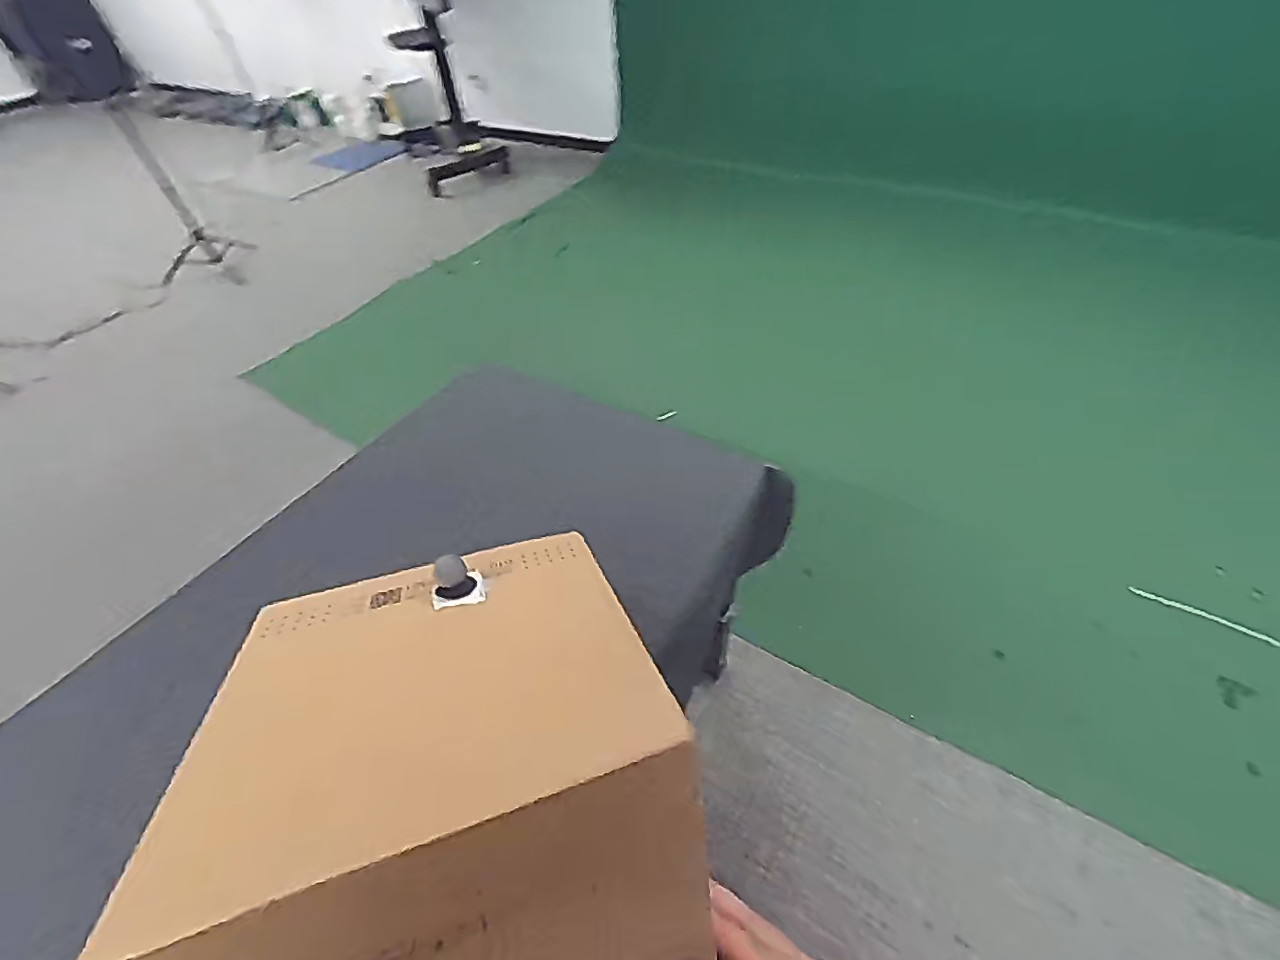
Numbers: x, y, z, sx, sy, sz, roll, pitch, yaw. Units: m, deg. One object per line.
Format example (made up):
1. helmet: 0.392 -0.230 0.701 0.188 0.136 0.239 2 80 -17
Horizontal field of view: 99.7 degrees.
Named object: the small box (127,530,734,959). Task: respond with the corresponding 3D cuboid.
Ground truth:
1. small box: -0.068 0.148 0.256 0.168 0.179 0.176 -13 23 -16
